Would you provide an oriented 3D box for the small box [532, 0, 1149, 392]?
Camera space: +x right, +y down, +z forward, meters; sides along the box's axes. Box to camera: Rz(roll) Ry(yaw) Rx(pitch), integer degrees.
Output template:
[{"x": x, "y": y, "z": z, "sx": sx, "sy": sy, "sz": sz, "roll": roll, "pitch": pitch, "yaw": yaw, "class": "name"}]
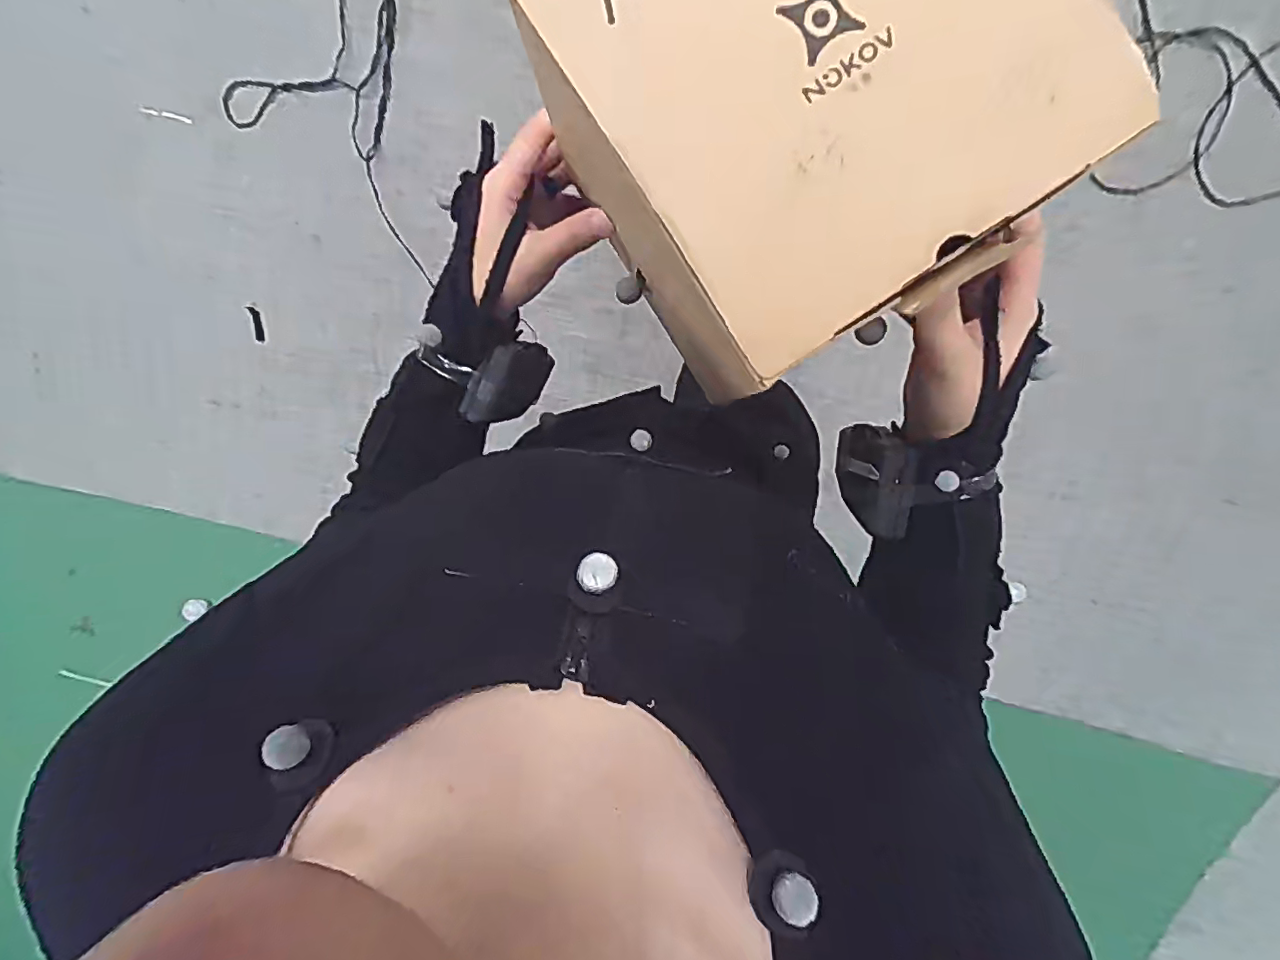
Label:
[{"x": 0.074, "y": -0.159, "z": 0.275, "sx": 0.168, "sy": 0.176, "sz": 0.179, "roll": -32, "pitch": 95, "yaw": 4, "class": "small box"}]
